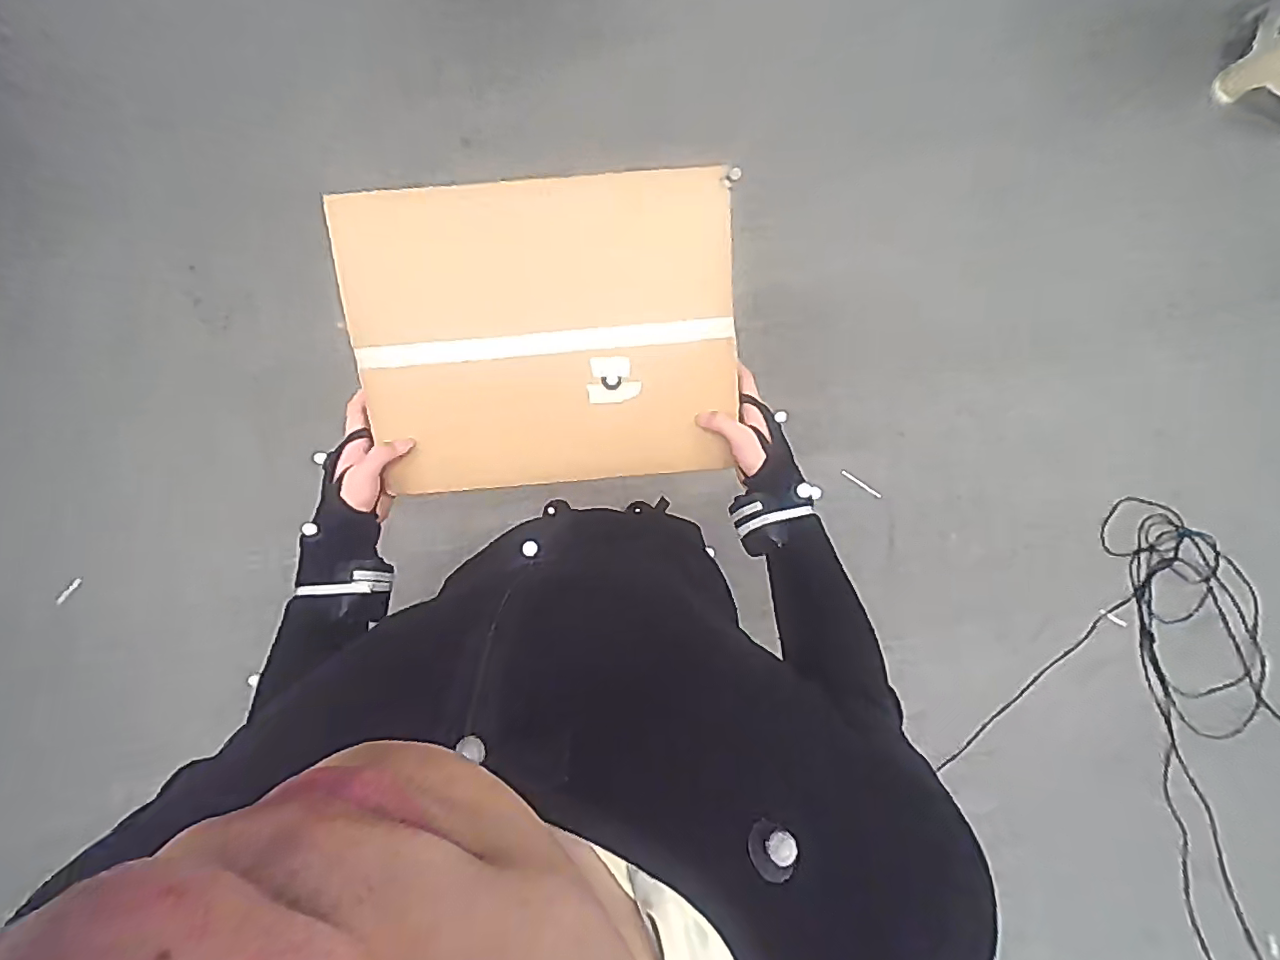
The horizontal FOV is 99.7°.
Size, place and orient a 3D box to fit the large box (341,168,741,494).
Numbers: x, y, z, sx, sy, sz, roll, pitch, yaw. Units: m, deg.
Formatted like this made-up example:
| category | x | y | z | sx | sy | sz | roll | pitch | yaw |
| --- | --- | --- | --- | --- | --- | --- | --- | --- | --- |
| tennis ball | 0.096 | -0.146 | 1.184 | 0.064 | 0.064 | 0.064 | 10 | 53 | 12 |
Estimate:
| category | x | y | z | sx | sy | sz | roll | pitch | yaw |
| --- | --- | --- | --- | --- | --- | --- | --- | --- | --- |
| large box | -0.102 | -0.189 | 0.731 | 0.408 | 0.320 | 0.320 | -6 | 106 | -1 |
